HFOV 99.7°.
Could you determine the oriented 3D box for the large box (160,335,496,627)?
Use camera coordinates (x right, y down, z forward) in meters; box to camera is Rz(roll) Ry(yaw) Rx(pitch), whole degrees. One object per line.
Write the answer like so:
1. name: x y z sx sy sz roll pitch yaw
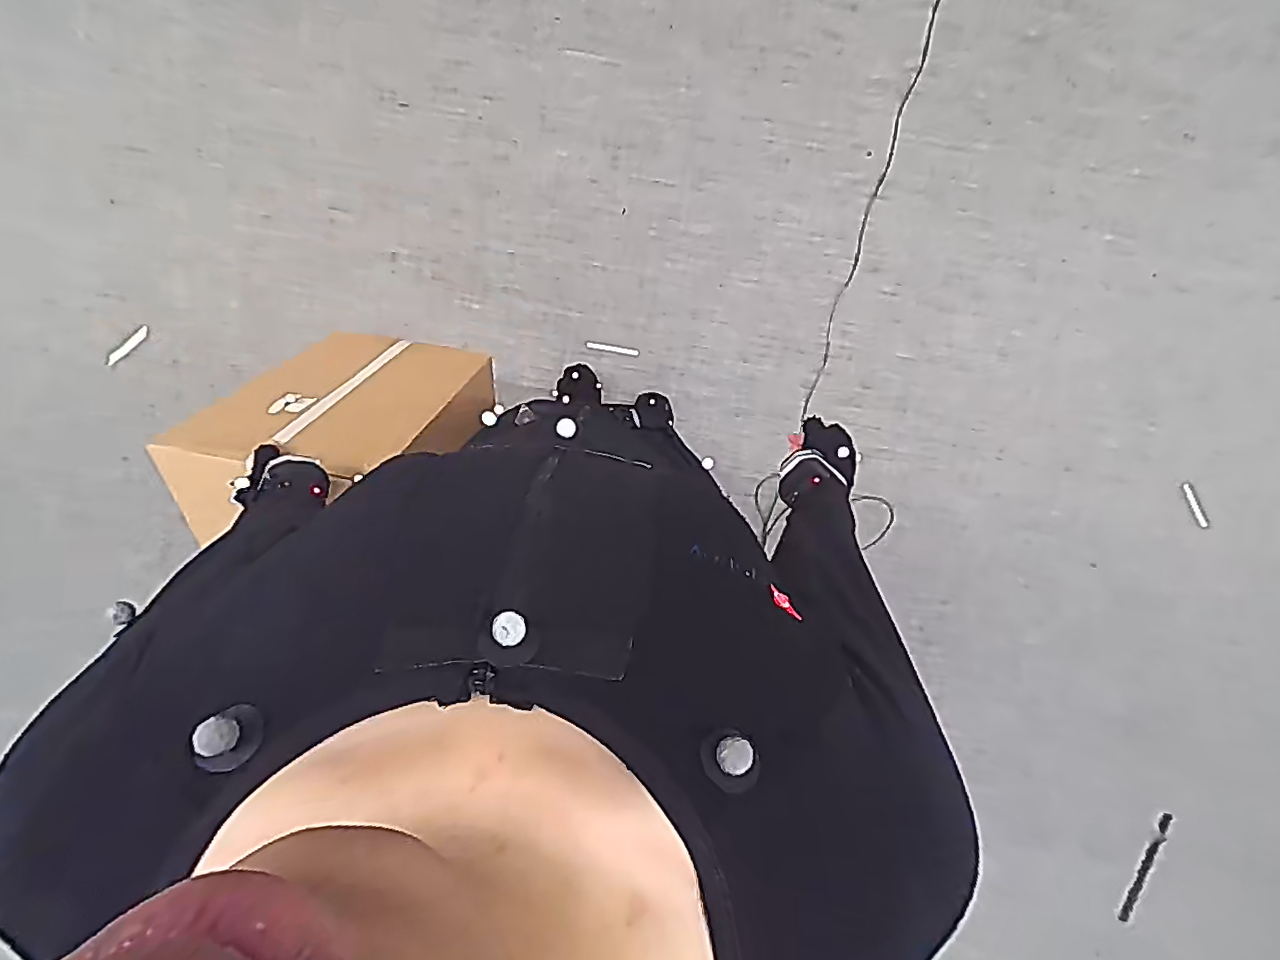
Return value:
1. large box: -0.477 -0.016 0.954 0.320 0.408 0.320 9 128 5
